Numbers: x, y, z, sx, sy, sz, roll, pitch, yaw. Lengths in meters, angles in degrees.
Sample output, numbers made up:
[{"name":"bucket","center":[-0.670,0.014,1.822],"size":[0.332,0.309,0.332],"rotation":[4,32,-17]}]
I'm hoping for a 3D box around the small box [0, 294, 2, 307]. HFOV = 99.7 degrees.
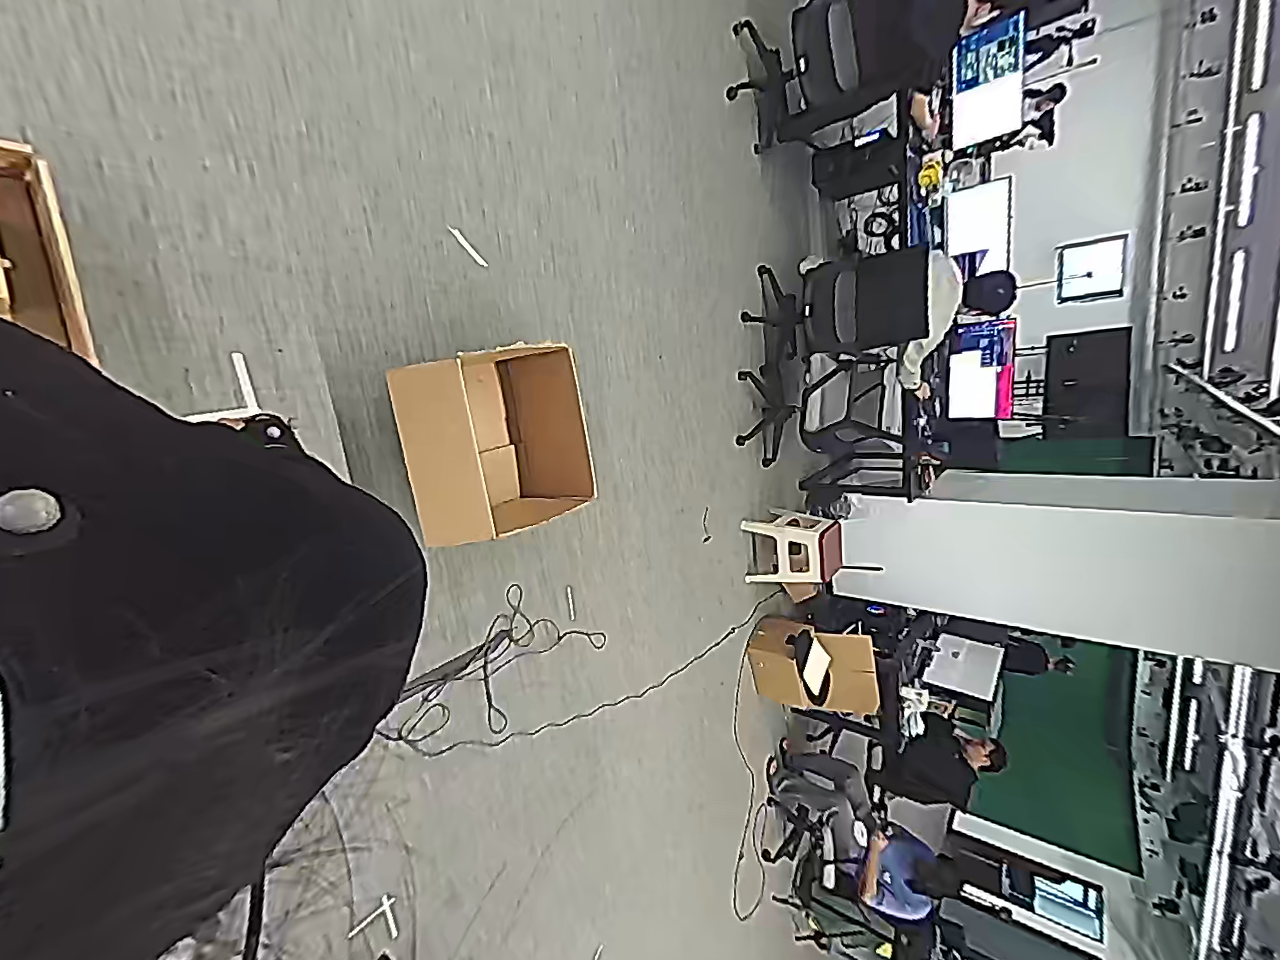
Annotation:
[{"name":"small box","center":[-1.127,-0.360,0.834],"size":[0.168,0.176,0.179],"rotation":[-14,105,-49]}]
